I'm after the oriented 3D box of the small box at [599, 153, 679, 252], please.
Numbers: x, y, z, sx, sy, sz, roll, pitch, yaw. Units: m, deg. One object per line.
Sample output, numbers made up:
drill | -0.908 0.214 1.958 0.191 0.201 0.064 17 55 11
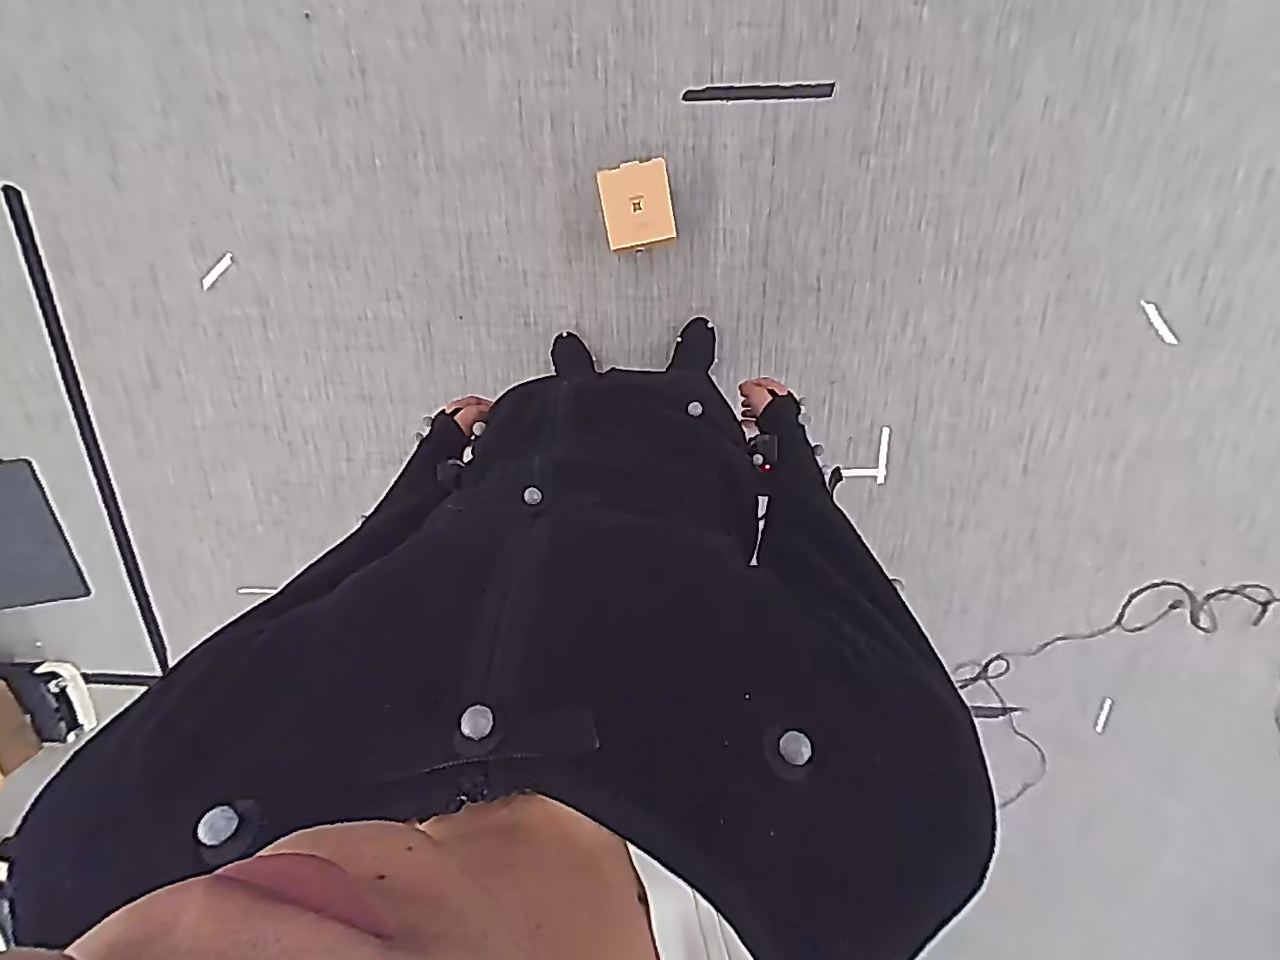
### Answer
small box | 0.000 -0.681 1.345 0.168 0.176 0.179 -9 108 6
